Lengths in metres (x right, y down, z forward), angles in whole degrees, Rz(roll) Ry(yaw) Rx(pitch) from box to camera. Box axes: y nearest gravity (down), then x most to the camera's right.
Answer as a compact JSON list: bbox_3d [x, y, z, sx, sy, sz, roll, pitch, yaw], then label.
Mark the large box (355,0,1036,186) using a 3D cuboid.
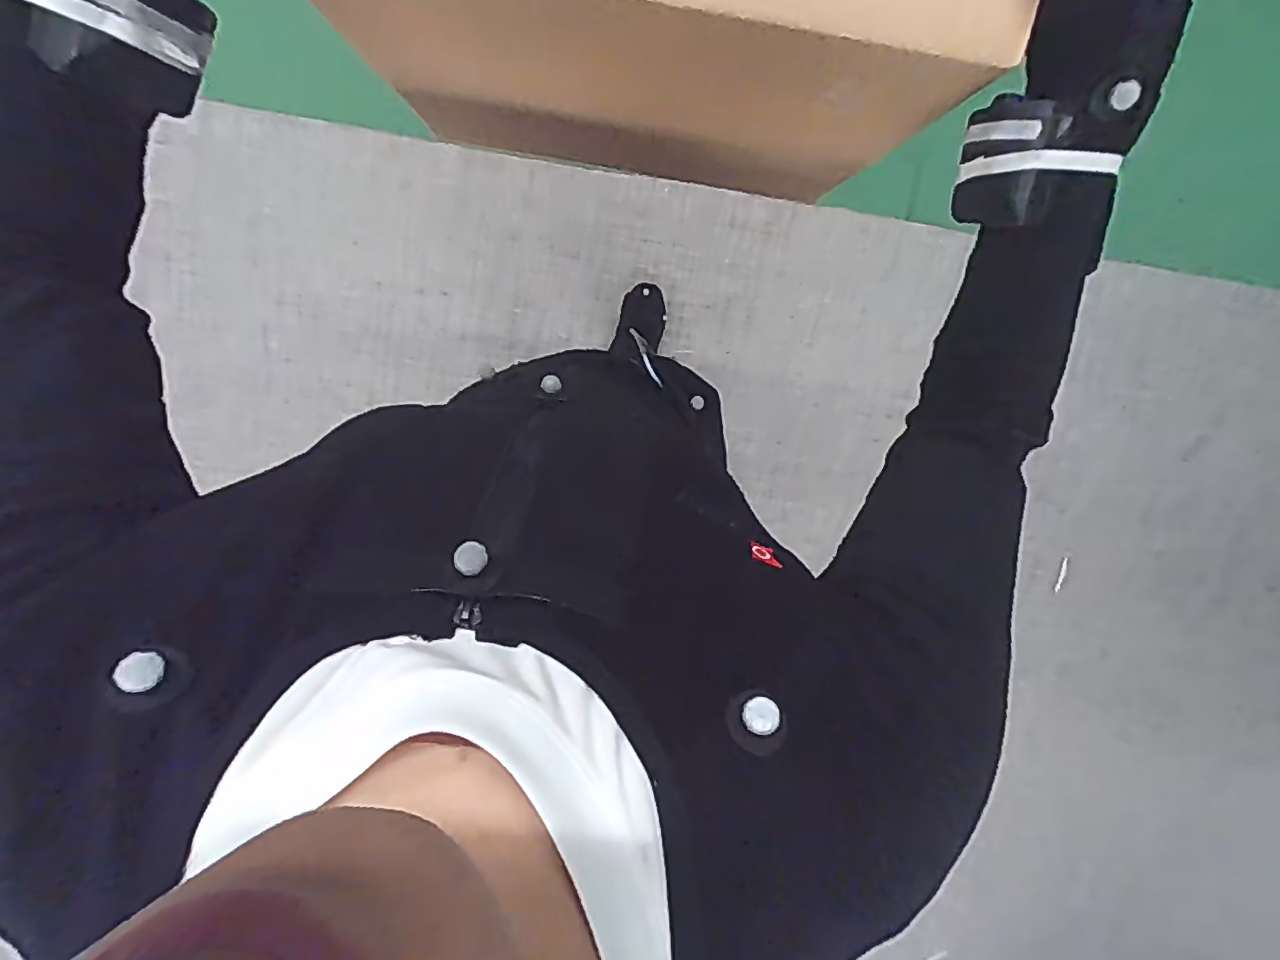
[{"bbox_3d":[0.026,-0.443,0.388,0.408,0.320,0.320,7,106,-6],"label":"large box"}]
